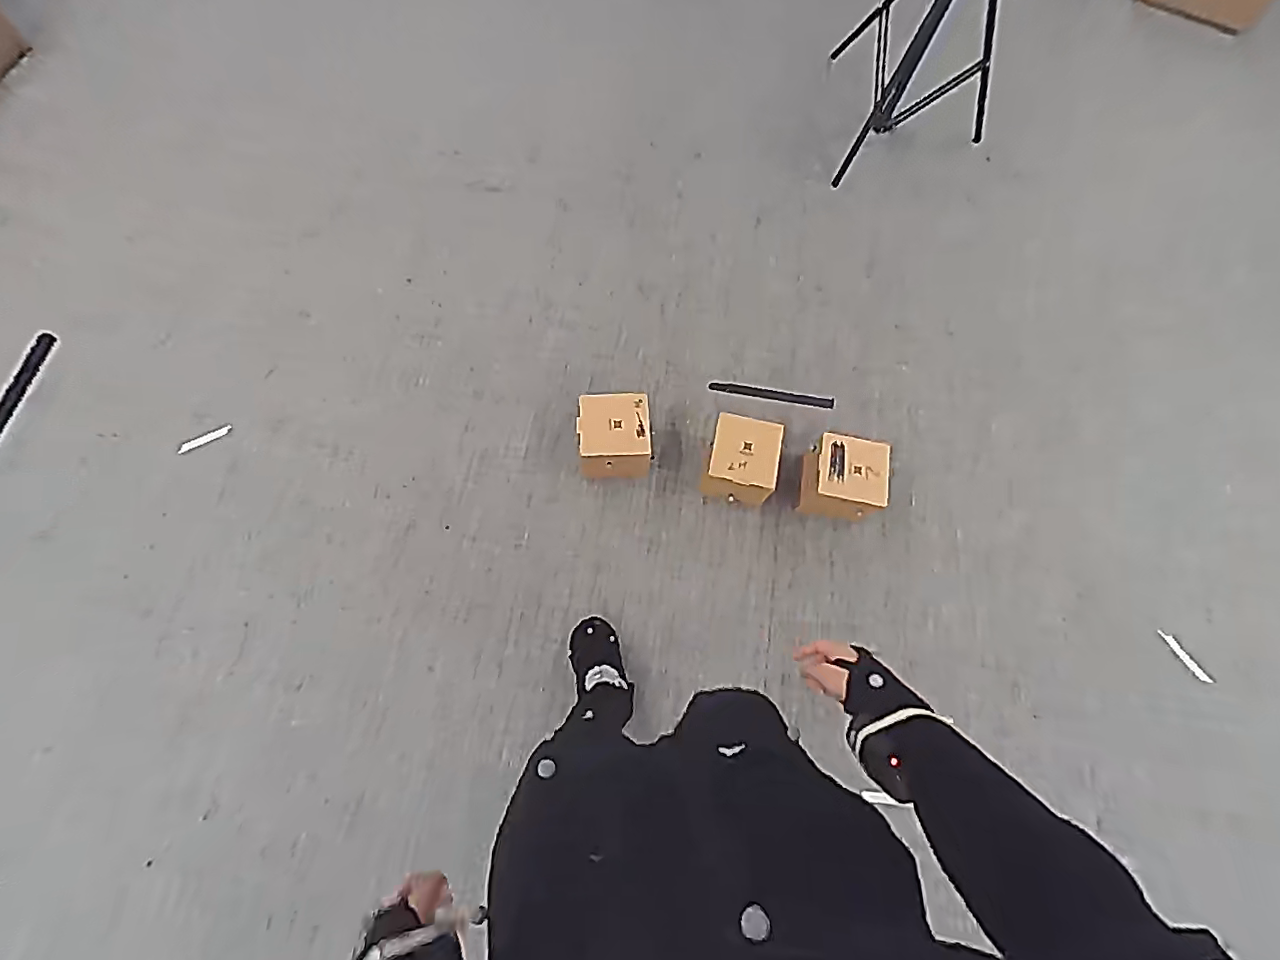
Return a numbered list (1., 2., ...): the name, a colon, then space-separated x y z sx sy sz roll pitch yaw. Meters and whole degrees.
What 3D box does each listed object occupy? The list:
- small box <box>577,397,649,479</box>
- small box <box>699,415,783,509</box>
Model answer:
1. small box: -0.068 -0.104 1.399 0.179 0.176 0.168 -2 73 -3
2. small box: 0.255 -0.042 1.397 0.168 0.176 0.179 13 72 1
